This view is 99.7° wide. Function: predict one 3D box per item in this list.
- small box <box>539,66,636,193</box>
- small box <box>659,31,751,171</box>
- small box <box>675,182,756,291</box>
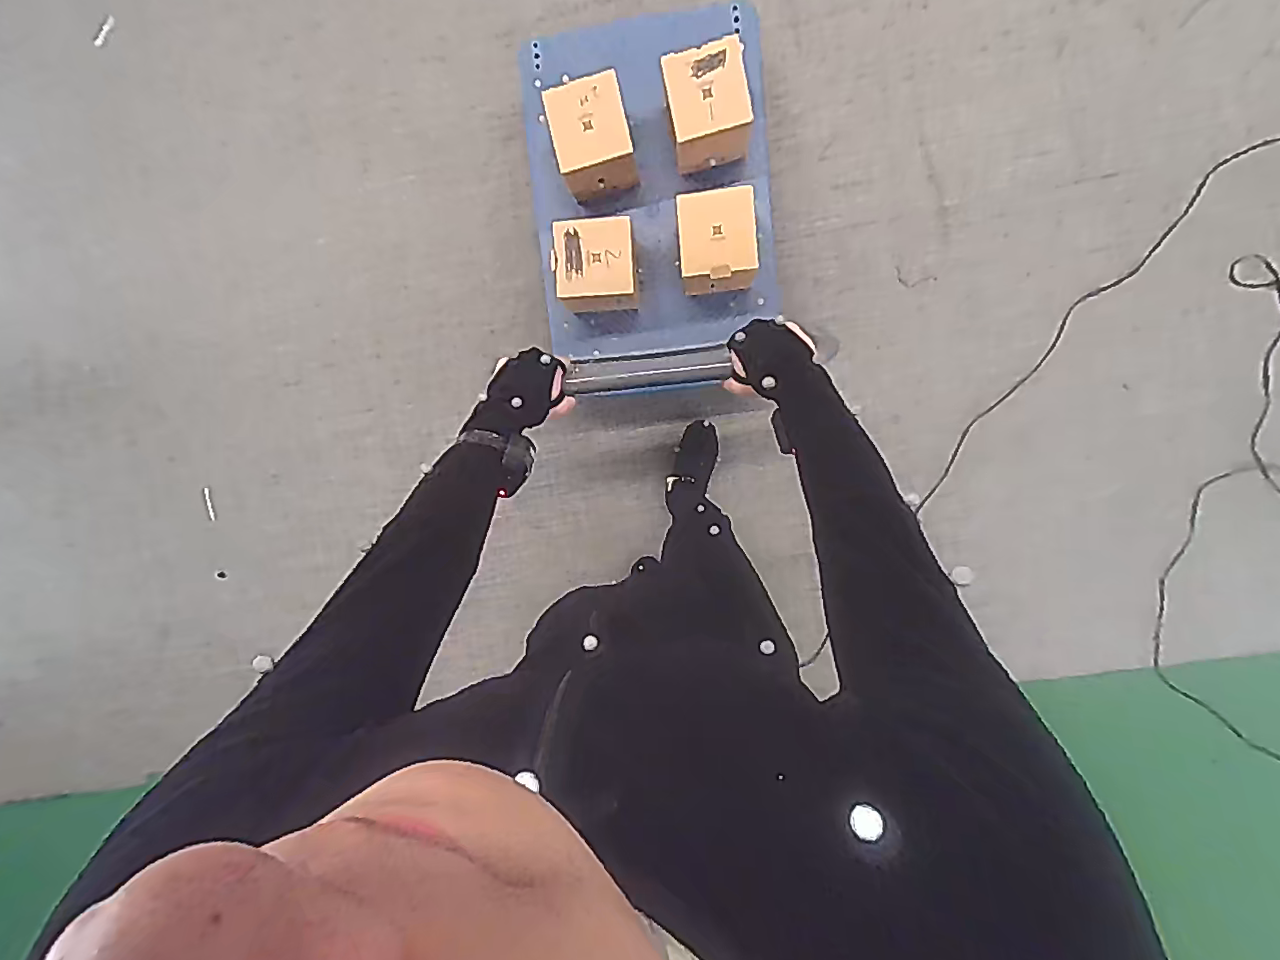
[{"bbox_3d":[-0.111,-0.781,1.231,0.168,0.176,0.179,-13,95,6],"label":"small box"},{"bbox_3d":[0.142,-0.831,1.203,0.168,0.176,0.179,-12,96,7],"label":"small box"},{"bbox_3d":[0.169,-0.549,1.238,0.168,0.176,0.179,-5,97,6],"label":"small box"}]
